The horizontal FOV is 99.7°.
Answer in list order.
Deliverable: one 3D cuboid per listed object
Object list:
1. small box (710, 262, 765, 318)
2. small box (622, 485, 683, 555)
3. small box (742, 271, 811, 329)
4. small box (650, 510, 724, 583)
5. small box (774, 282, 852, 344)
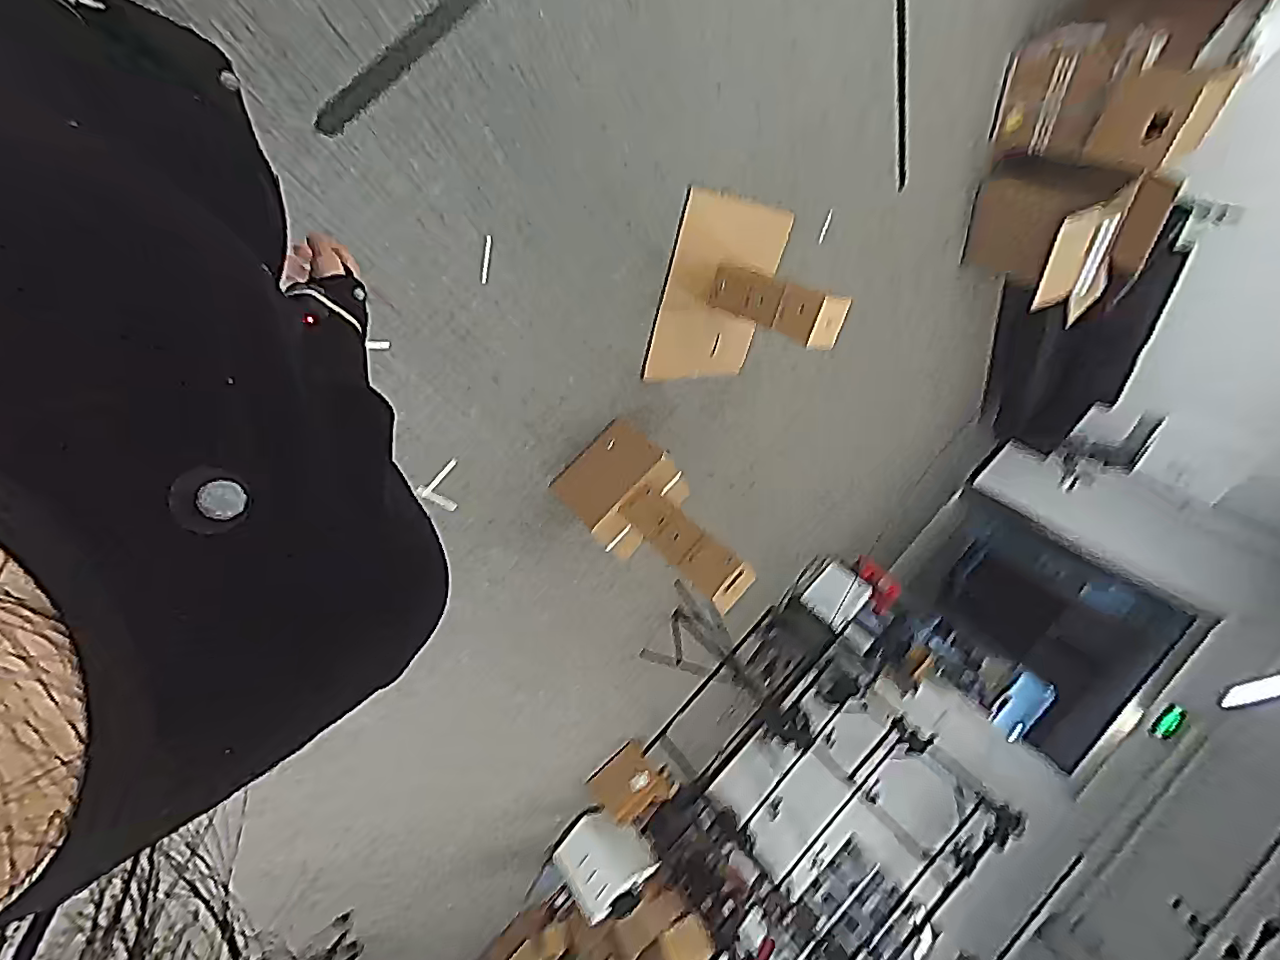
[{"bbox_3d":[0.404,-0.741,2.104,0.179,0.176,0.168,-15,131,-36],"label":"small box"},{"bbox_3d":[0.061,0.141,2.016,0.168,0.176,0.179,-44,143,-8],"label":"small box"},{"bbox_3d":[0.505,-0.666,1.998,0.179,0.176,0.168,-15,132,-38],"label":"small box"},{"bbox_3d":[0.165,0.230,1.925,0.168,0.176,0.179,-46,142,-5],"label":"small box"},{"bbox_3d":[0.599,-0.585,1.893,0.179,0.176,0.168,-13,129,-40],"label":"small box"}]
